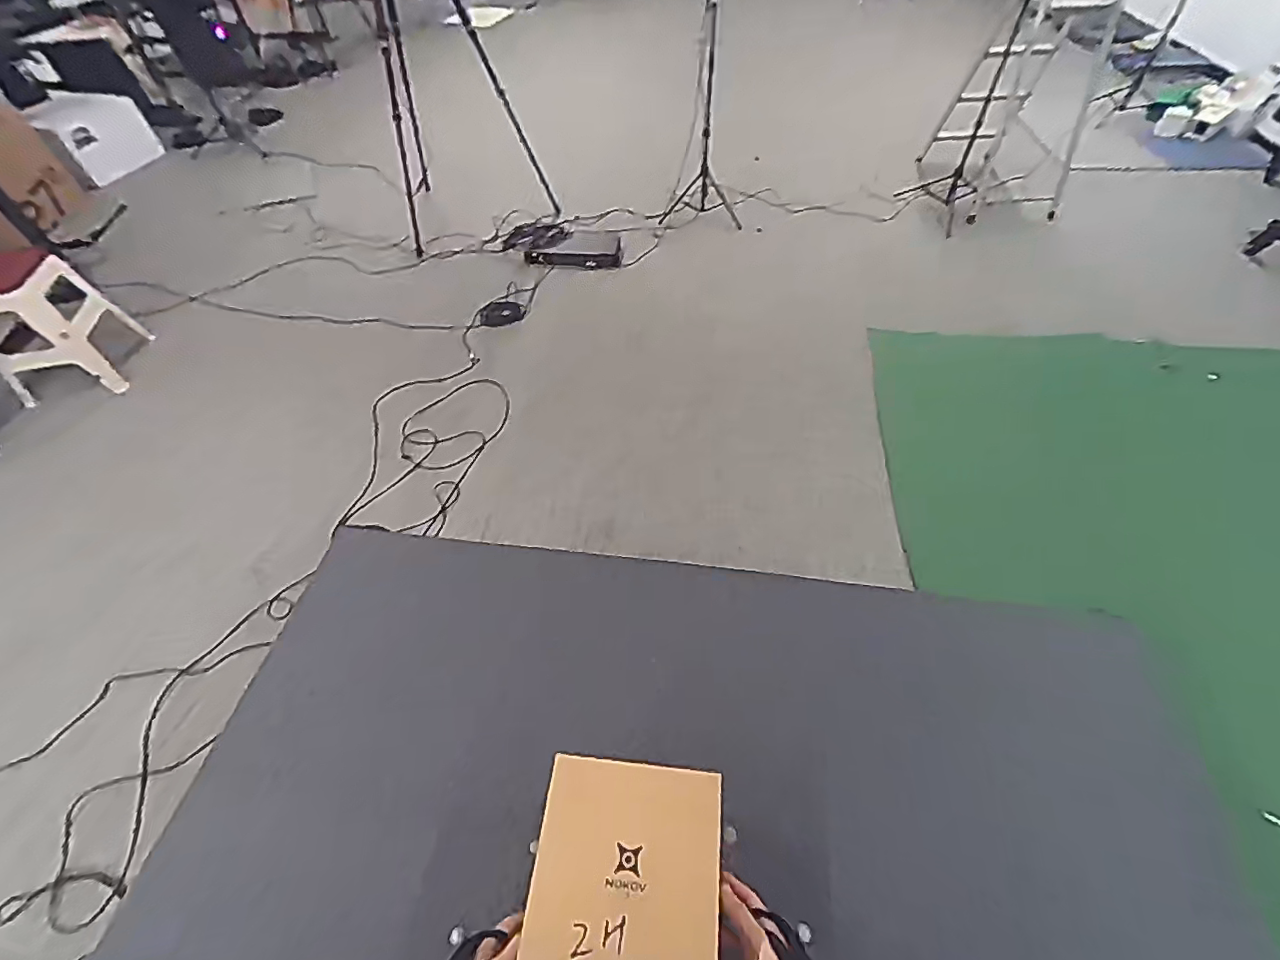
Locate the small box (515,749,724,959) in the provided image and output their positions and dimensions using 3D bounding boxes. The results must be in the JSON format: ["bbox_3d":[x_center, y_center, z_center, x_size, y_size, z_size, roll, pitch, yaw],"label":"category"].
[{"bbox_3d":[-0.008,0.390,0.535,0.168,0.176,0.179,4,51,6],"label":"small box"}]
